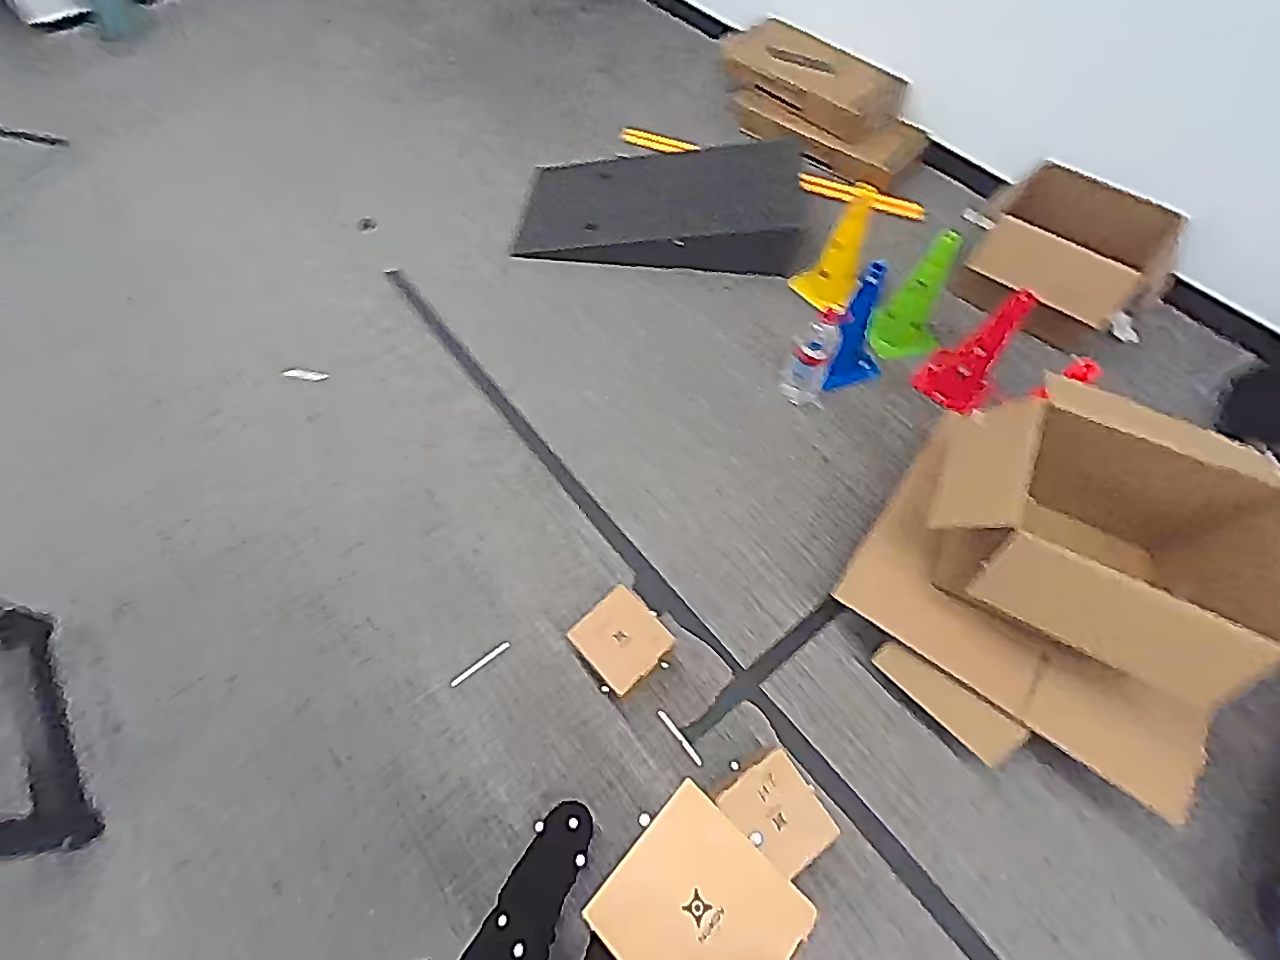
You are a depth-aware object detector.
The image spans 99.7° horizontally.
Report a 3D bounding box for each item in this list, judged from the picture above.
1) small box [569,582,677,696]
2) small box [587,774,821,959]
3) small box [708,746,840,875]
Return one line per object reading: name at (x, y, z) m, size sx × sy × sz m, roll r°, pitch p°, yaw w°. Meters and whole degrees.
small box at (-0.035, 0.366, 1.218) m, size 0.168 × 0.176 × 0.179 m, roll -40°, pitch 69°, yaw -19°
small box at (0.062, 0.467, 0.599) m, size 0.179 × 0.176 × 0.168 m, roll 37°, pitch 63°, yaw 22°
small box at (0.254, 0.652, 1.071) m, size 0.168 × 0.176 × 0.179 m, roll -31°, pitch 68°, yaw -15°
